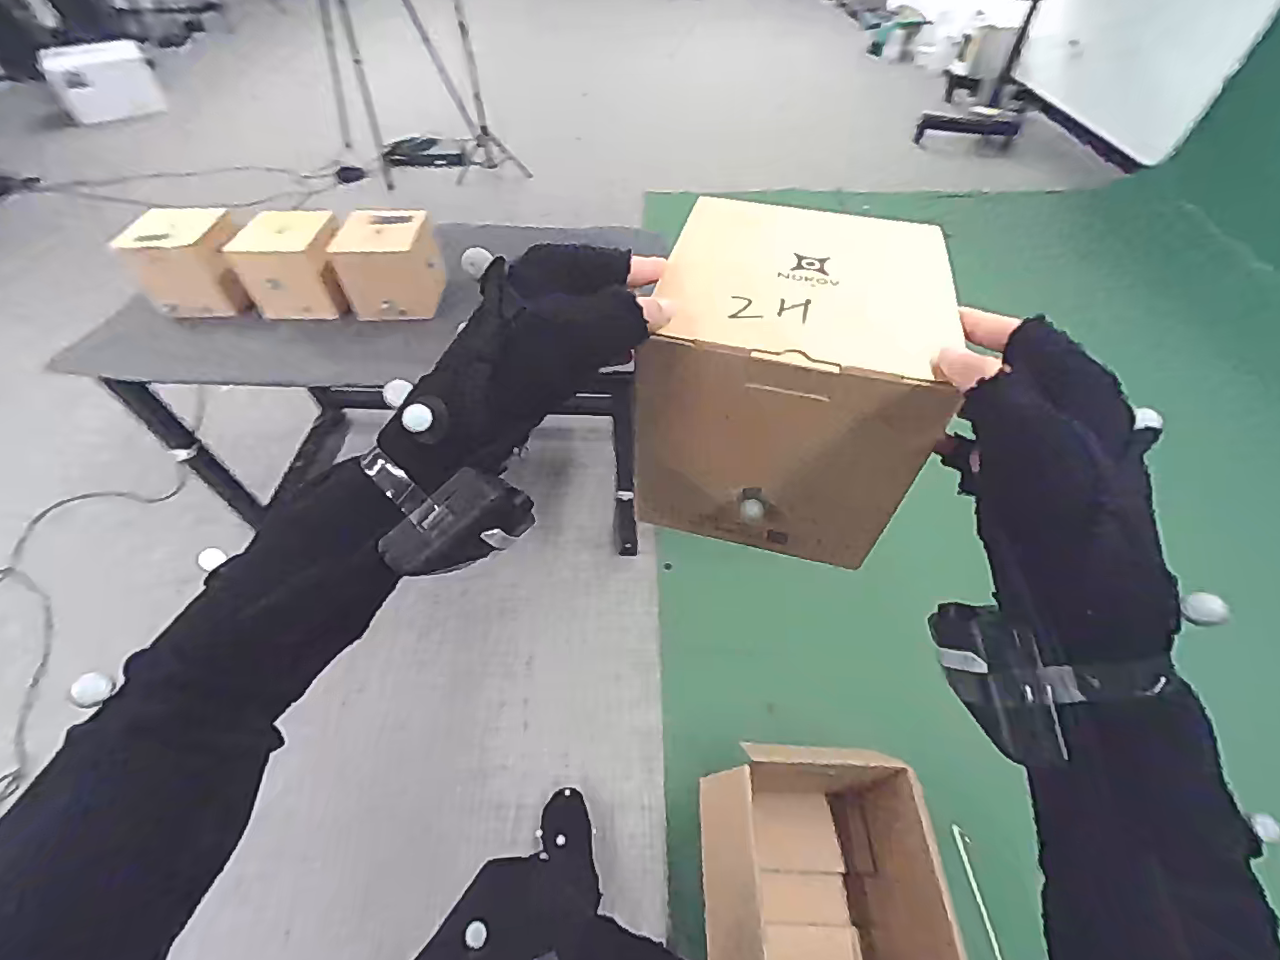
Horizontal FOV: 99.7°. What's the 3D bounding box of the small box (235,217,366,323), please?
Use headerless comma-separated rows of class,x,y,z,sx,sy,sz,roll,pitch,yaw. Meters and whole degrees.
small box,-0.751,-0.472,1.223,0.168,0.176,0.179,0,50,1

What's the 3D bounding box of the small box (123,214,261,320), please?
small box,-0.987,-0.479,1.227,0.168,0.176,0.179,-2,50,-2

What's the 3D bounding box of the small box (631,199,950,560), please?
small box,0.092,-0.072,0.387,0.168,0.176,0.179,12,50,9
